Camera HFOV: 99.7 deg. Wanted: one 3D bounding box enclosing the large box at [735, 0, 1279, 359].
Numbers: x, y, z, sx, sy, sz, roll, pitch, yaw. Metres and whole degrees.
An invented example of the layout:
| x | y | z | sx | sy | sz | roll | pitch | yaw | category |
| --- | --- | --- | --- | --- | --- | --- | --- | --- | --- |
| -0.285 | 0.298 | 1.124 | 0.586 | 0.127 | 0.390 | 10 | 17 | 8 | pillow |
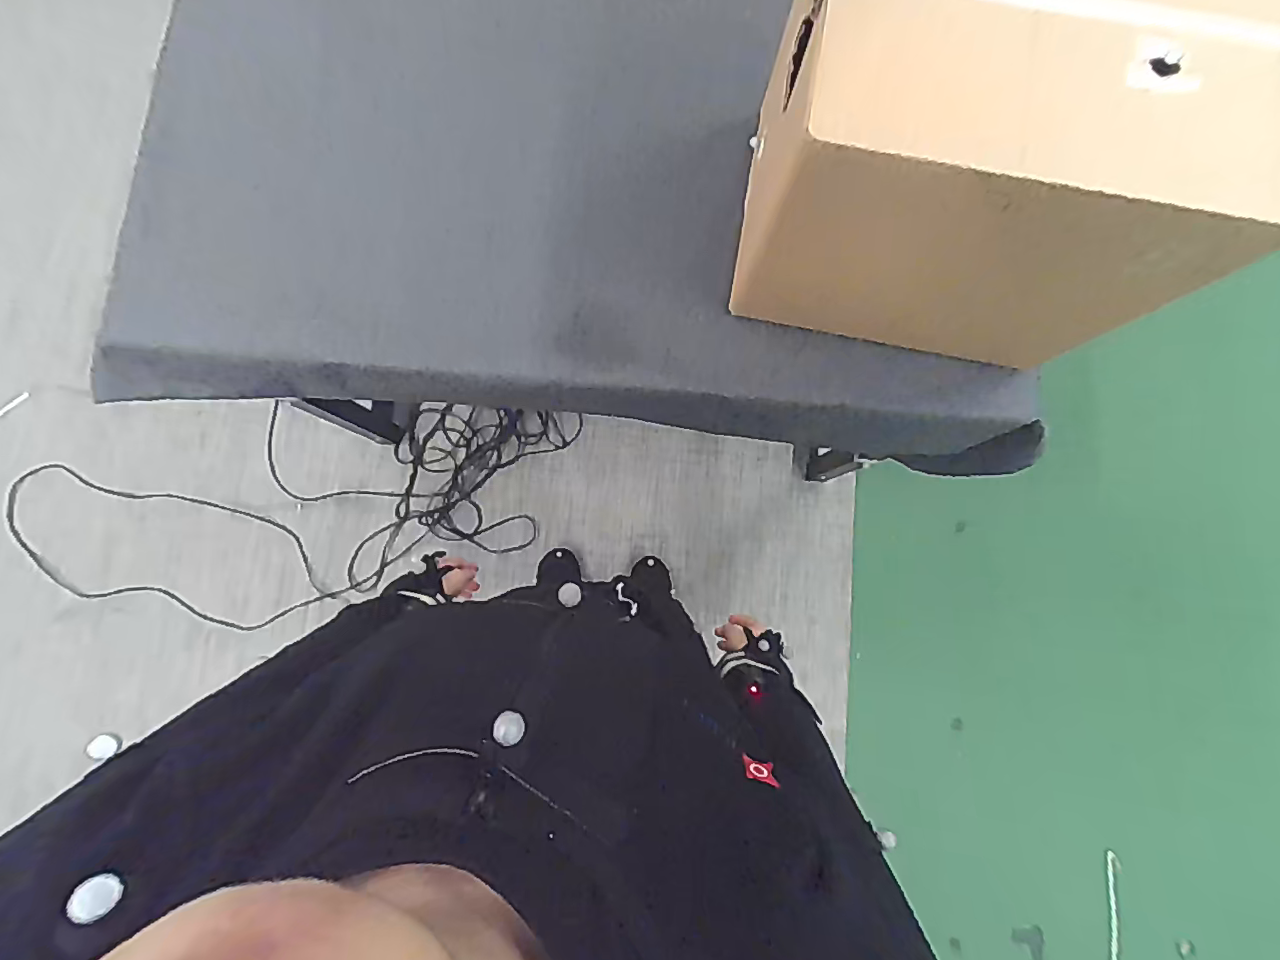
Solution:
| x | y | z | sx | sy | sz | roll | pitch | yaw | category |
| --- | --- | --- | --- | --- | --- | --- | --- | --- | --- |
| 0.344 | -0.357 | 0.584 | 0.408 | 0.320 | 0.320 | 10 | 82 | -1 | large box |
